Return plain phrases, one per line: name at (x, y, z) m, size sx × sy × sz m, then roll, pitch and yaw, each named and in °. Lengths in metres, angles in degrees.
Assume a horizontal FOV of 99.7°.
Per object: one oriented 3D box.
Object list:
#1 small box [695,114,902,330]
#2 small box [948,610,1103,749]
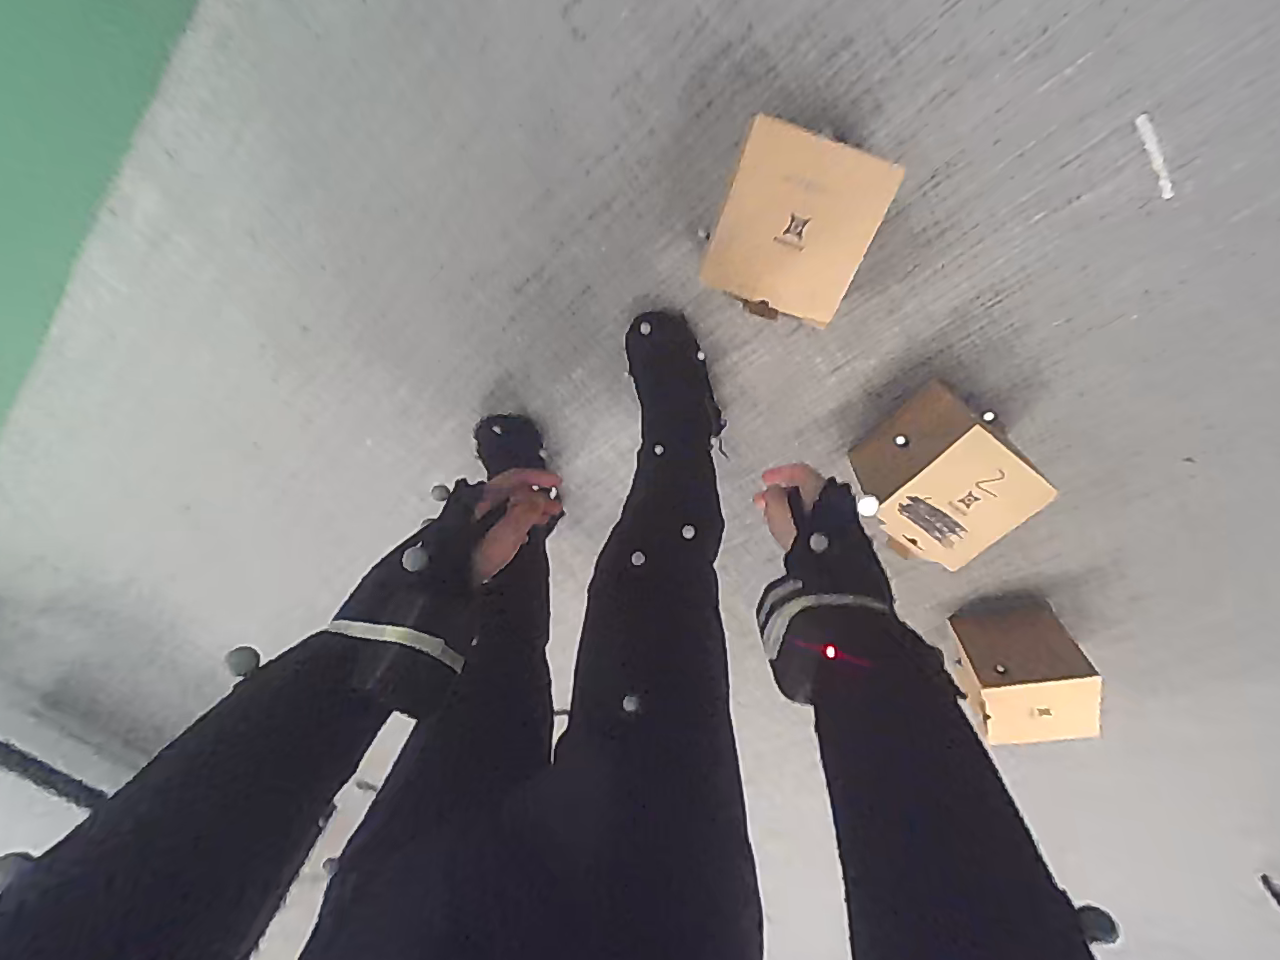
small box at (0.174, -0.309, 0.651) m, size 0.168 × 0.176 × 0.179 m, roll 17°, pitch 121°, yaw -4°
small box at (0.692, 0.359, 0.986) m, size 0.179 × 0.176 × 0.168 m, roll -15°, pitch 119°, yaw 17°
